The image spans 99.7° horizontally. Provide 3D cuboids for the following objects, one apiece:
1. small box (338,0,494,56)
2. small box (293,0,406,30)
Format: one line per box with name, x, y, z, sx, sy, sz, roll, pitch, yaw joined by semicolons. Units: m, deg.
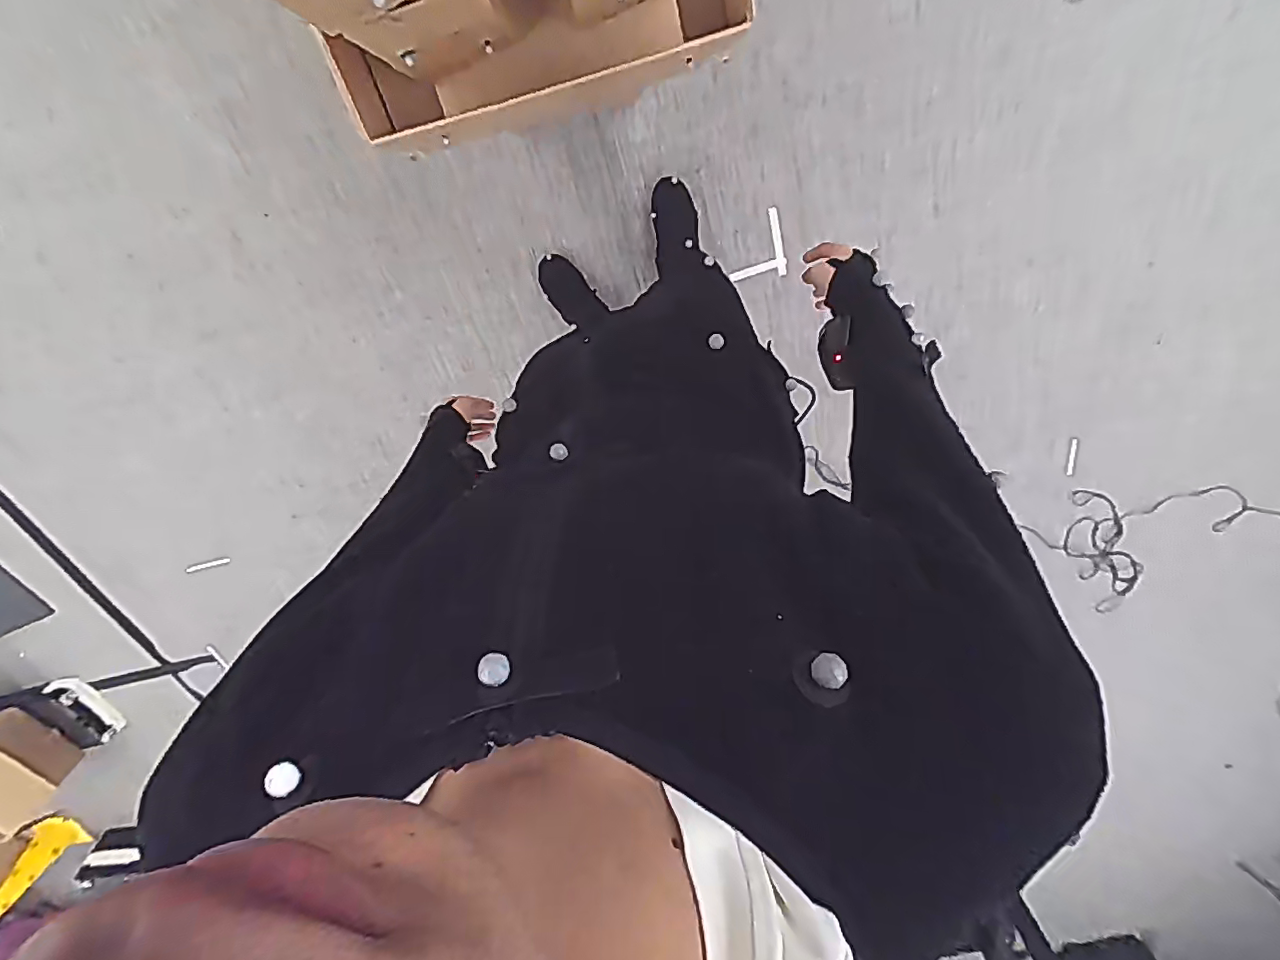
small box;-0.293;-0.639;0.640;0.168;0.176;0.179;-17;116;6
small box;-0.300;-0.564;0.492;0.168;0.176;0.179;-19;116;7
